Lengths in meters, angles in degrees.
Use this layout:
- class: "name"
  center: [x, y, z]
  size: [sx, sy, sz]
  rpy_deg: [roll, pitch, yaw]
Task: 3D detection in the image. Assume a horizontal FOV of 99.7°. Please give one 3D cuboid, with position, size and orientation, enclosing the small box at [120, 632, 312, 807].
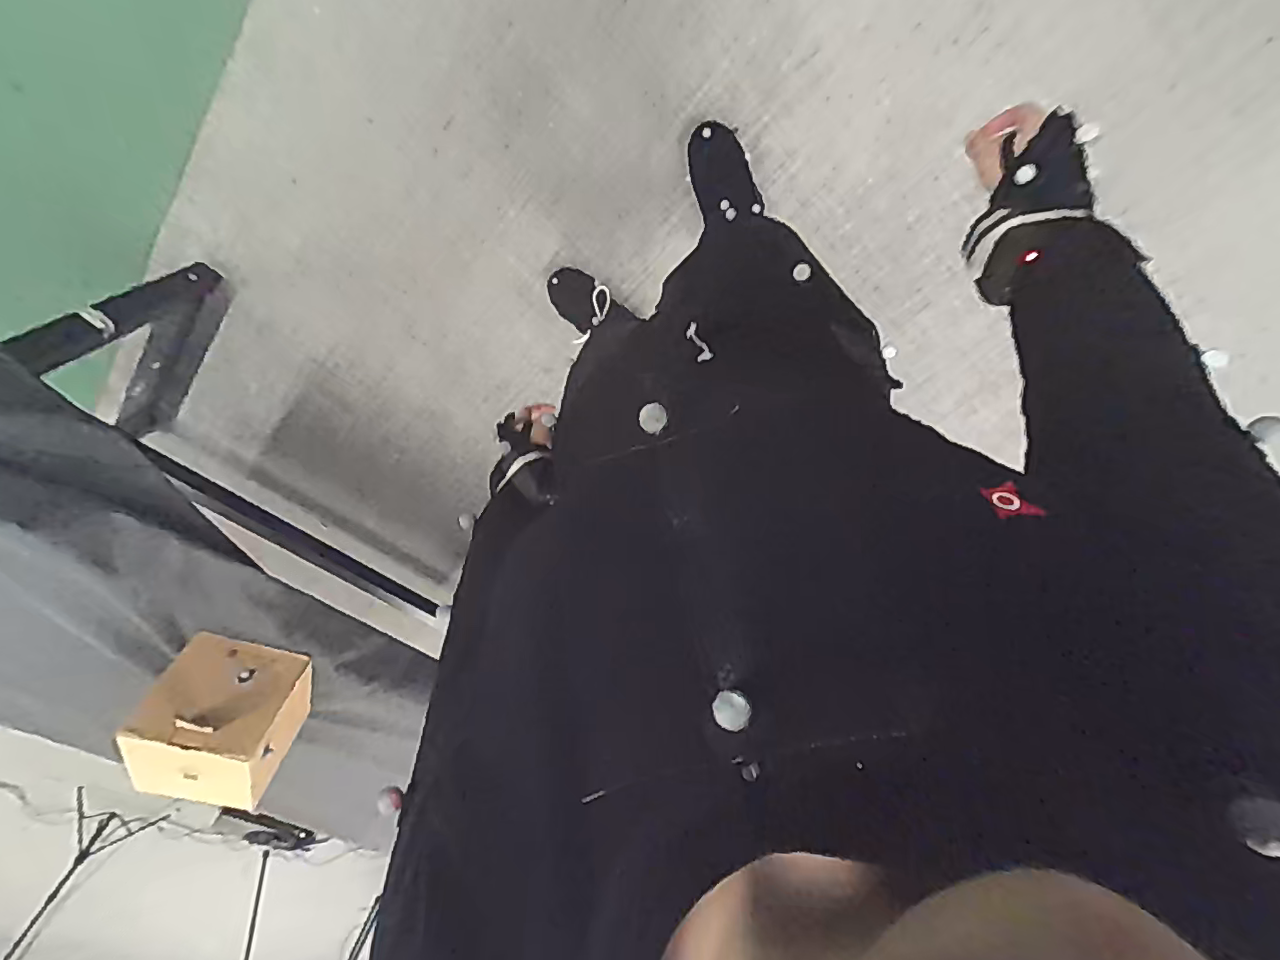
- class: "small box"
  center: [-0.635, 0.368, 0.836]
  size: [0.168, 0.176, 0.179]
  rpy_deg: [18, 125, -11]
